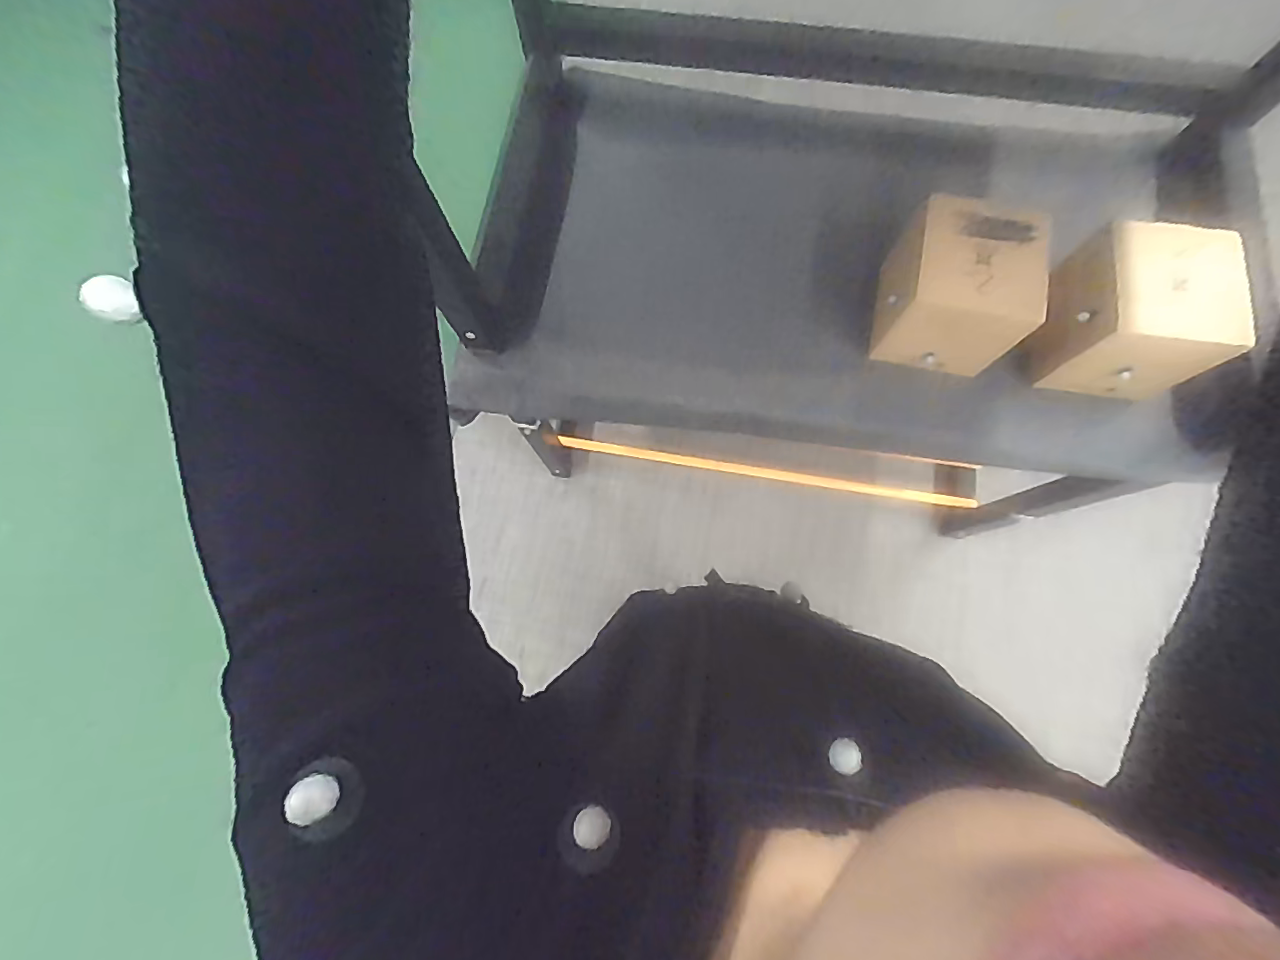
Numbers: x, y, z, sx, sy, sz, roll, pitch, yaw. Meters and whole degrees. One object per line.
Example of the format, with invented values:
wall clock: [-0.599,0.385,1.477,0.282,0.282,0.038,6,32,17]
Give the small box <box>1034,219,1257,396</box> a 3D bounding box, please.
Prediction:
small box: [0.705,-0.238,0.778,0.168,0.176,0.179,9,74,4]
